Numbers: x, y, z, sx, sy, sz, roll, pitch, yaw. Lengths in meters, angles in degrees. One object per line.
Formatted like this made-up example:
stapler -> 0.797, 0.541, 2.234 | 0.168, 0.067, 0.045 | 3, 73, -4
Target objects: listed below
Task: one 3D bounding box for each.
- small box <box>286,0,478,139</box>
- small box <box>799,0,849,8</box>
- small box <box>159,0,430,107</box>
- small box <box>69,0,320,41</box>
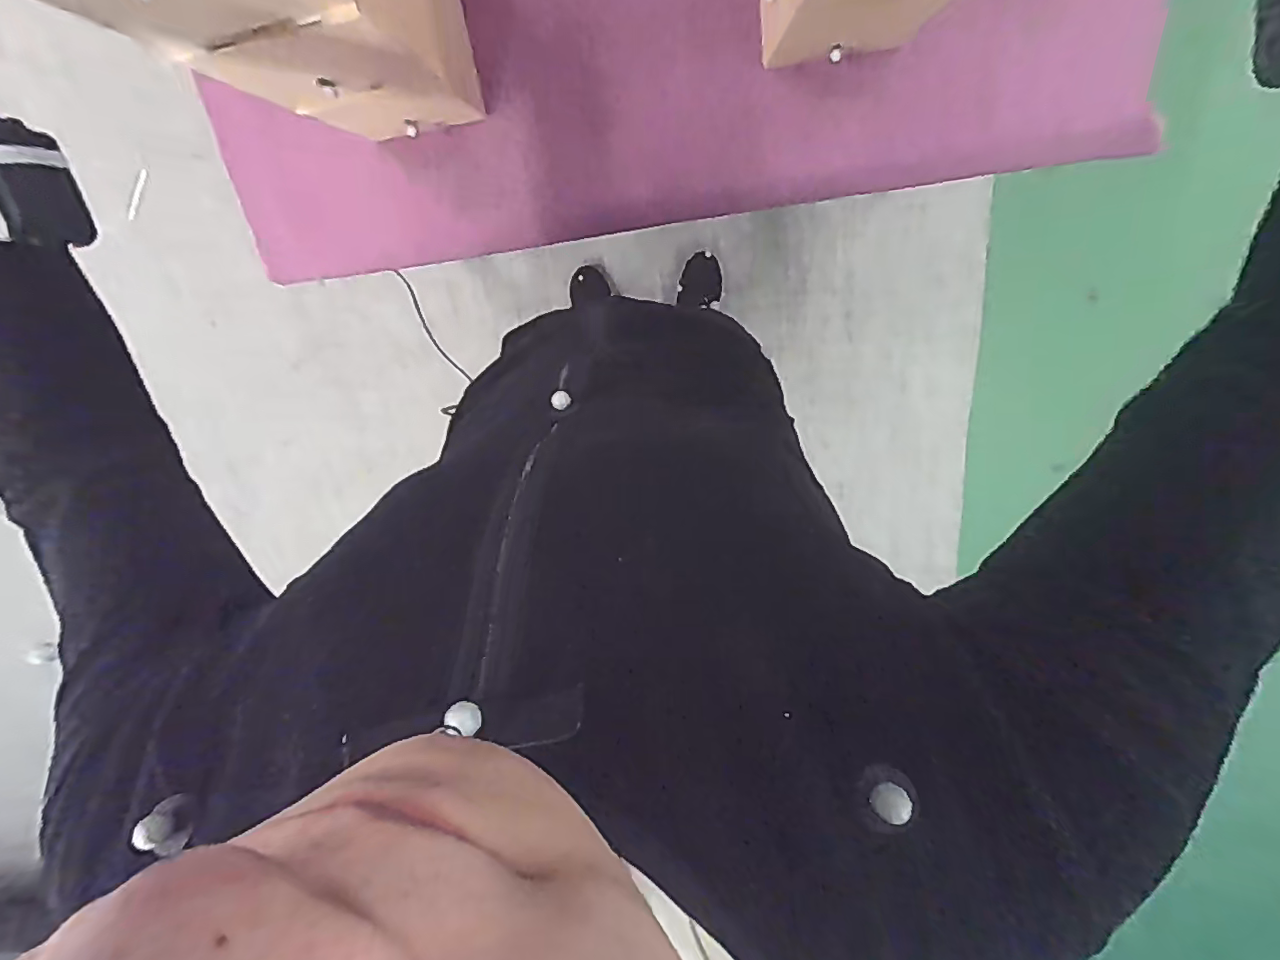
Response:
small box -> -0.306, -0.520, 0.620 | 0.168, 0.176, 0.179 | -7, 112, 6
small box -> 0.207, -0.512, 0.422 | 0.168, 0.176, 0.179 | -7, 112, 6
small box -> -0.312, -0.460, 0.470 | 0.168, 0.176, 0.179 | -9, 112, 6
small box -> -0.317, -0.400, 0.318 | 0.179, 0.176, 0.168 | -10, 112, 7
